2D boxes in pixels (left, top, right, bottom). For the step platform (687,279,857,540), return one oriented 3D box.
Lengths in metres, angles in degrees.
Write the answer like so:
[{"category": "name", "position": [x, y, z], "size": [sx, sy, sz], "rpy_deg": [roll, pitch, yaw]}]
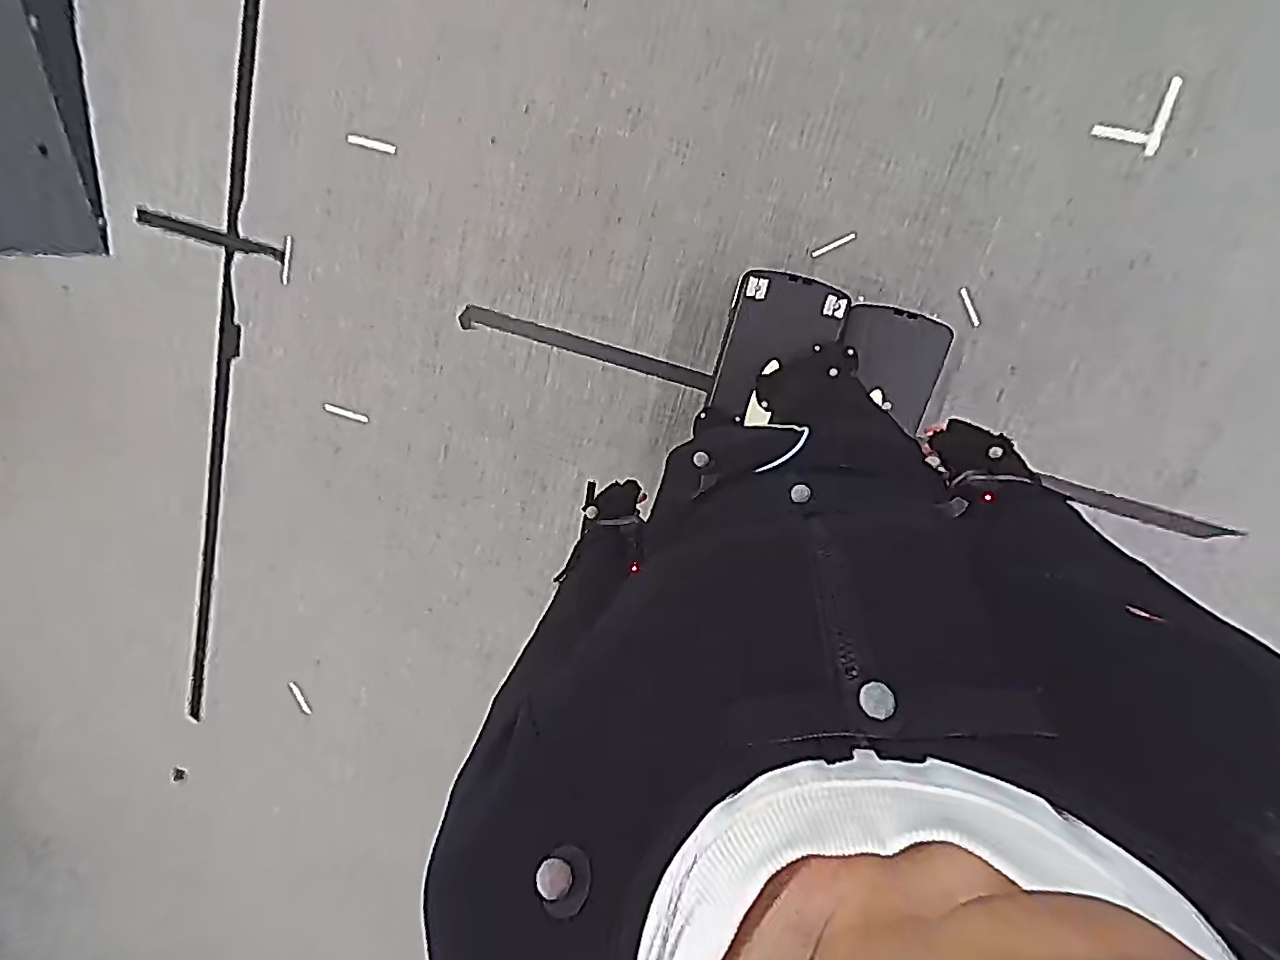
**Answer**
[{"category": "step platform", "position": [0.344, -0.183, 1.481], "size": [0.286, 0.204, 0.684], "rpy_deg": [15, 101, 4]}]
